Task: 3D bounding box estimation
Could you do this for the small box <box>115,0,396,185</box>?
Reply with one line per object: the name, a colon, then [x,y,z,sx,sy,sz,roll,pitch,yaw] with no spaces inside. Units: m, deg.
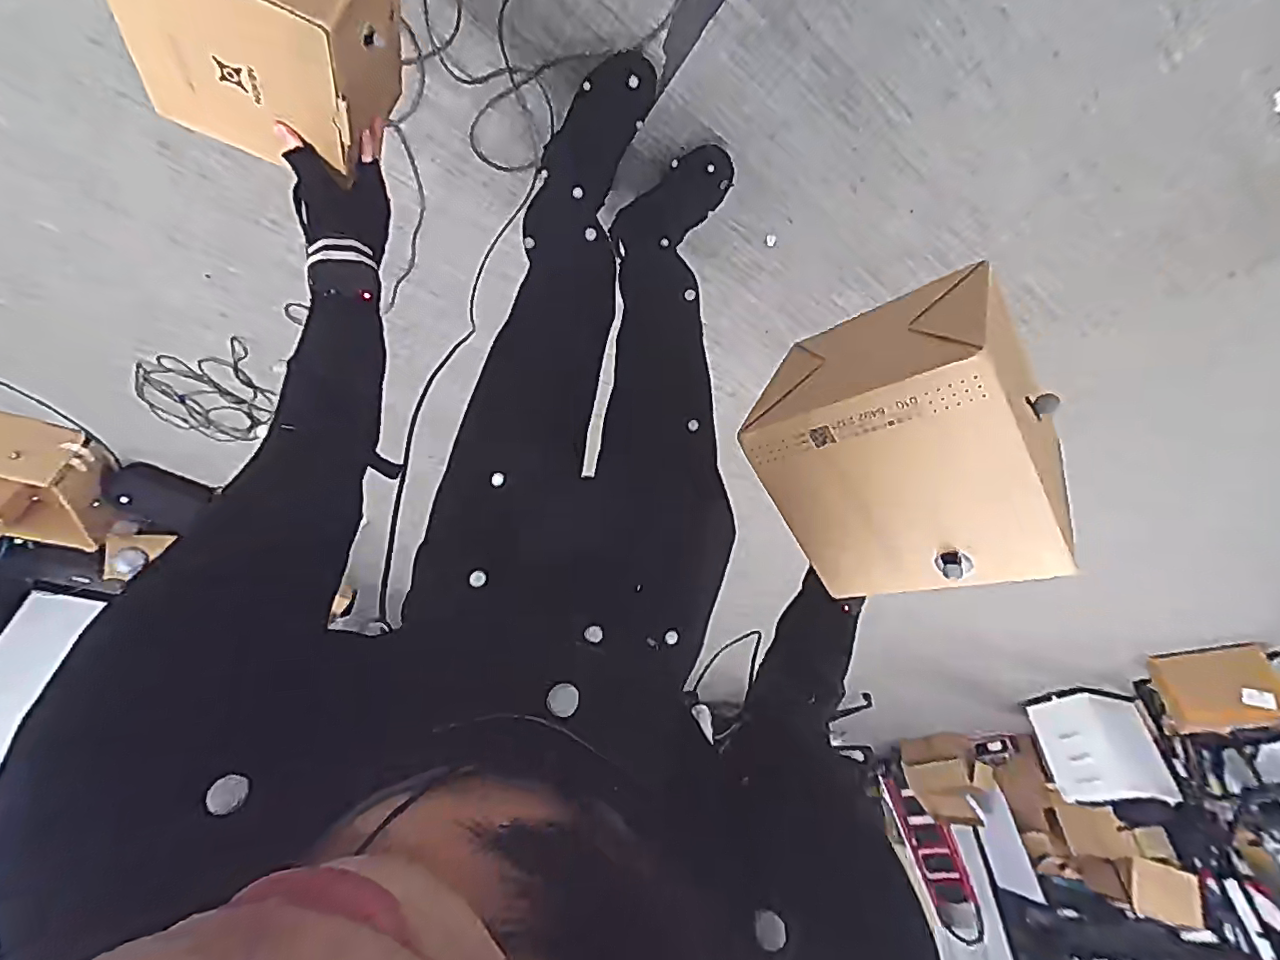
small box: [-0.342,-0.434,0.511,0.179,0.176,0.168,18,154,-16]
